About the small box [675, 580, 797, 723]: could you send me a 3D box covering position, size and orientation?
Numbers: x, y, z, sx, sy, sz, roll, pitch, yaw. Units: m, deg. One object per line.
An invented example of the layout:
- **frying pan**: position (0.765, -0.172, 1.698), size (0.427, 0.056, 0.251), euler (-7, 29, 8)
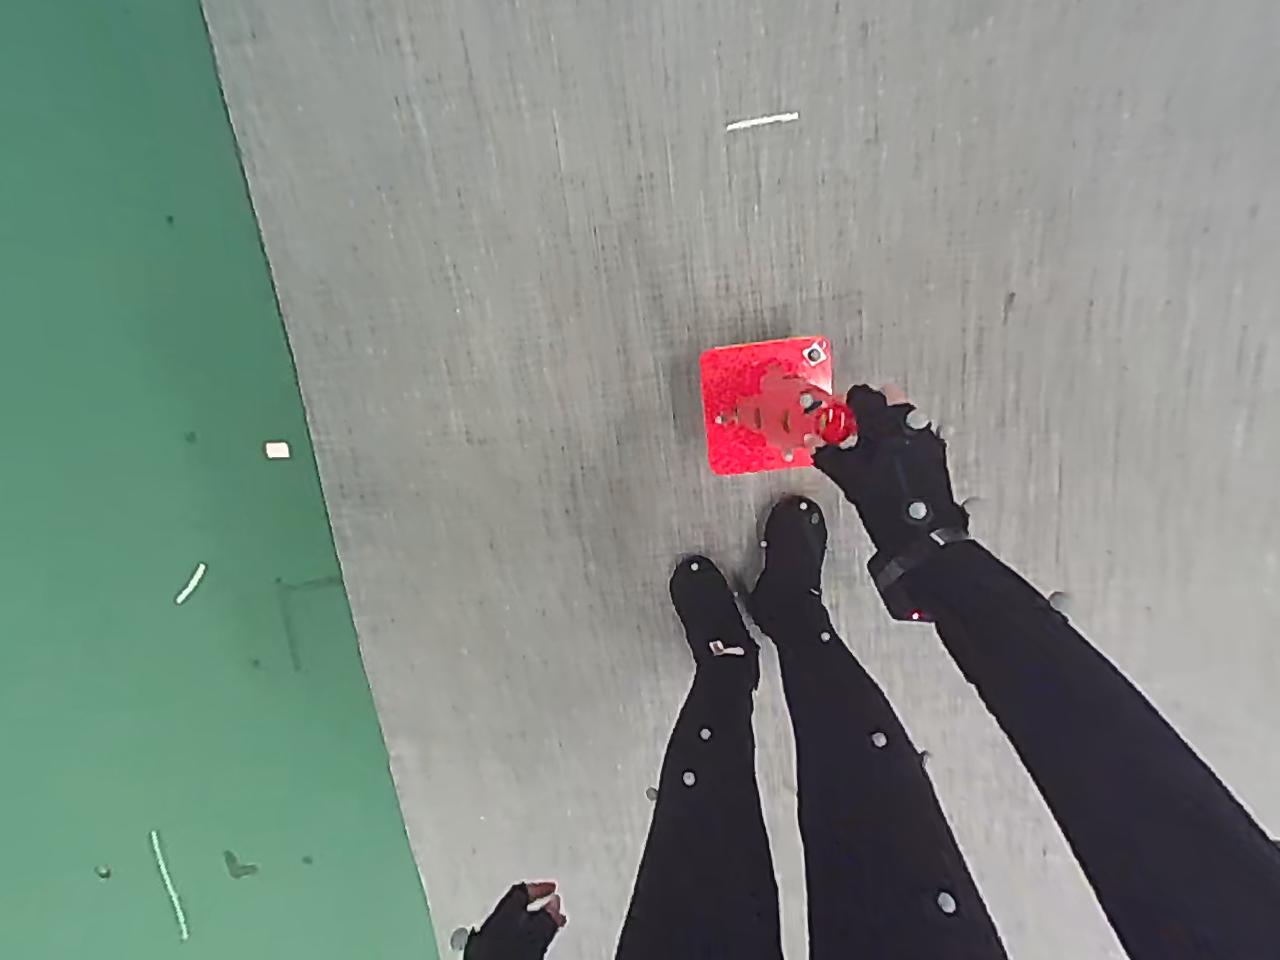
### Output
- **small box**: position (0.169, 0.305, 0.990), size (0.168, 0.176, 0.179), euler (-12, 99, -5)
